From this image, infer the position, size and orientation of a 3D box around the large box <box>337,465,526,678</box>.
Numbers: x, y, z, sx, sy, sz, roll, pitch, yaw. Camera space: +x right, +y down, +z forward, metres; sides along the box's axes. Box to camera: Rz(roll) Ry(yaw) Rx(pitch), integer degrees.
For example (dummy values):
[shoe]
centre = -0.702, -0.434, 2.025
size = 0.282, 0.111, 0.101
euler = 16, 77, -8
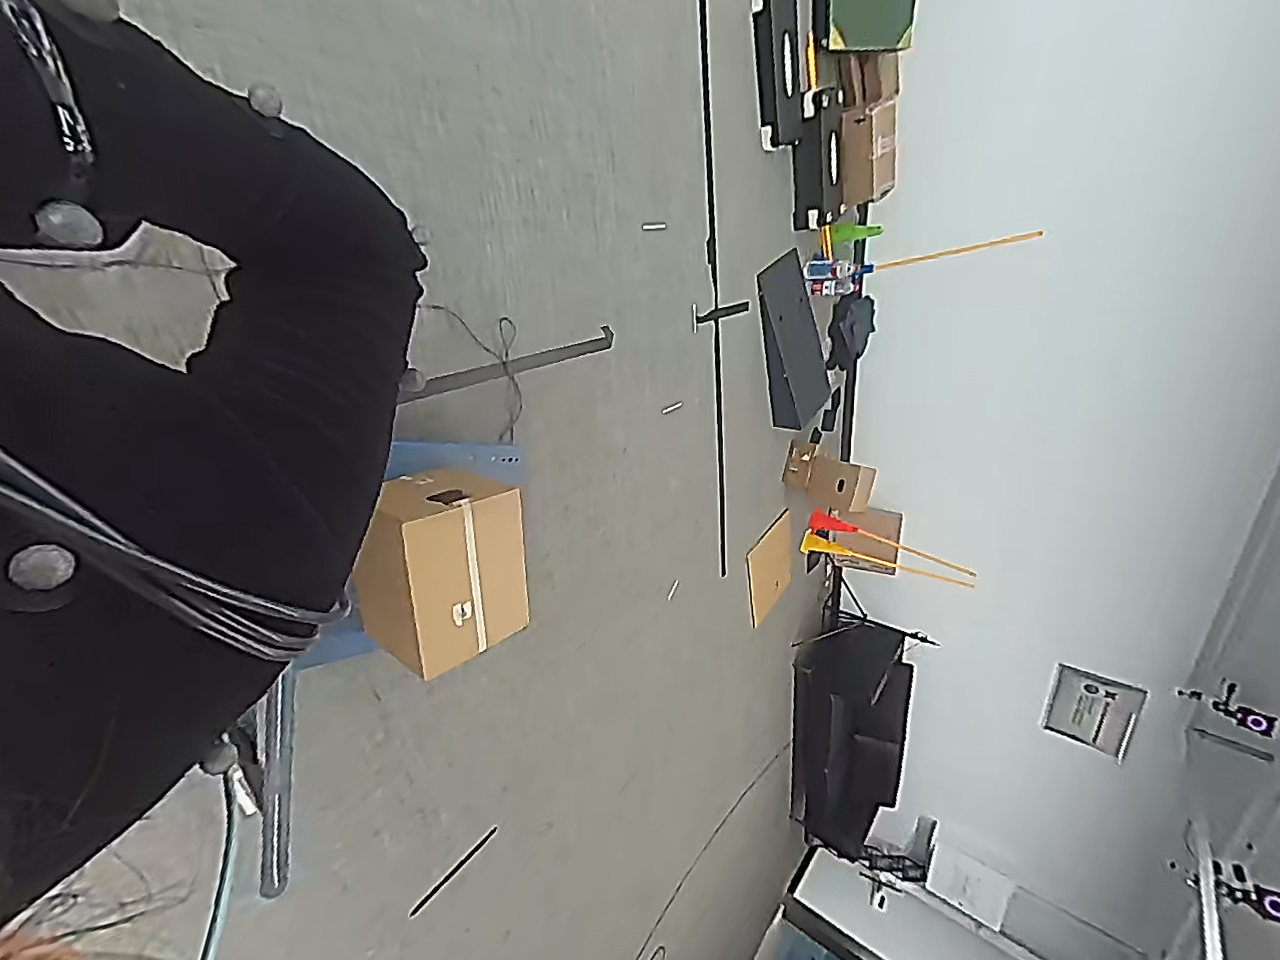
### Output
[large box]
centre = -0.524, 0.209, 1.389
size = 0.320, 0.320, 0.408
euler = -20, 117, -46
